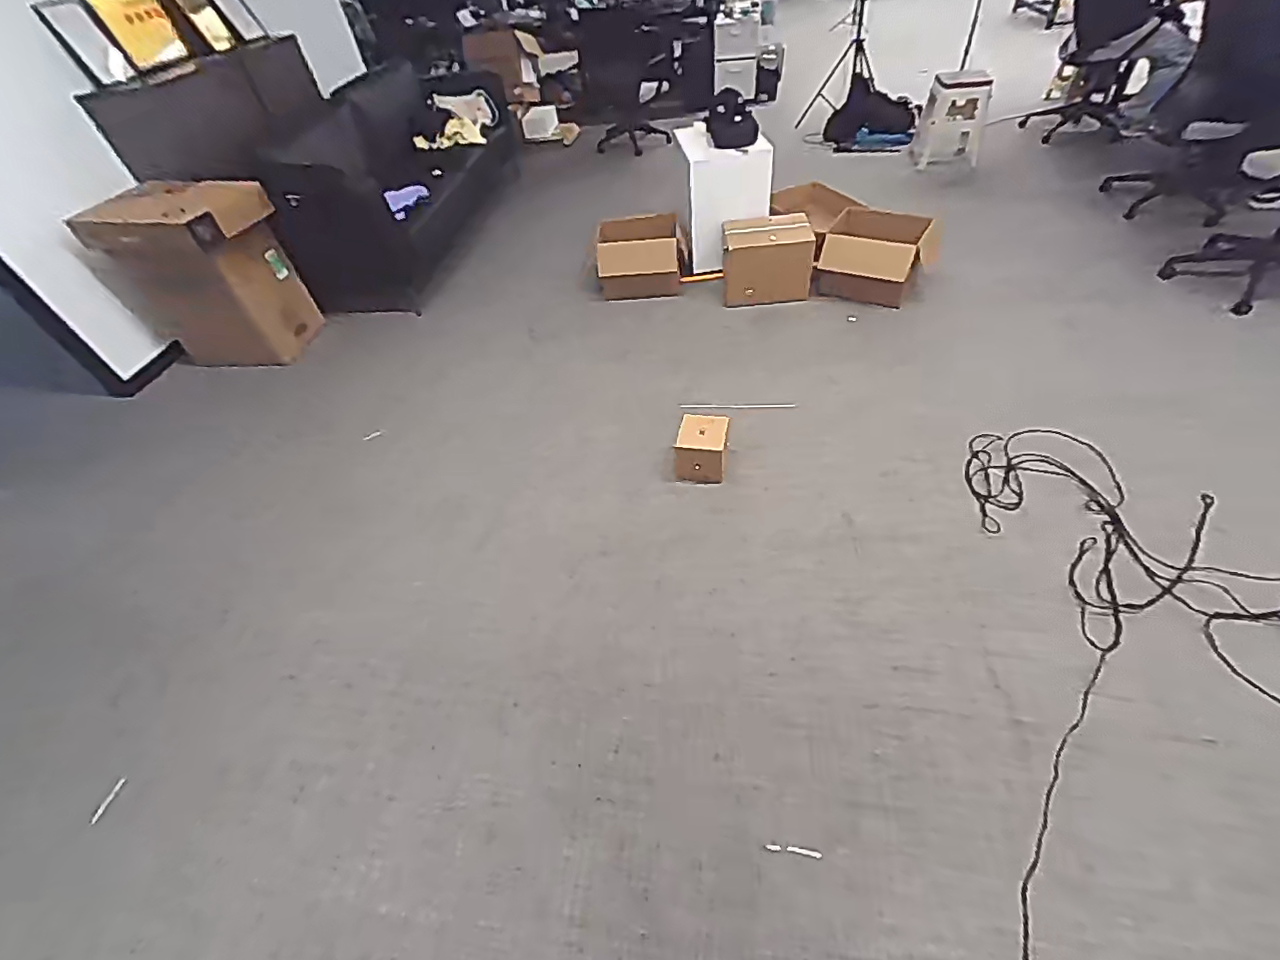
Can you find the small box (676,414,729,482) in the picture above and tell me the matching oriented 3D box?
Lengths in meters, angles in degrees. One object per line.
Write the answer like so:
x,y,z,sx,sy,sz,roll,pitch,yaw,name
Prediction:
0.232,-0.114,1.962,0.168,0.176,0.179,7,49,14,small box
